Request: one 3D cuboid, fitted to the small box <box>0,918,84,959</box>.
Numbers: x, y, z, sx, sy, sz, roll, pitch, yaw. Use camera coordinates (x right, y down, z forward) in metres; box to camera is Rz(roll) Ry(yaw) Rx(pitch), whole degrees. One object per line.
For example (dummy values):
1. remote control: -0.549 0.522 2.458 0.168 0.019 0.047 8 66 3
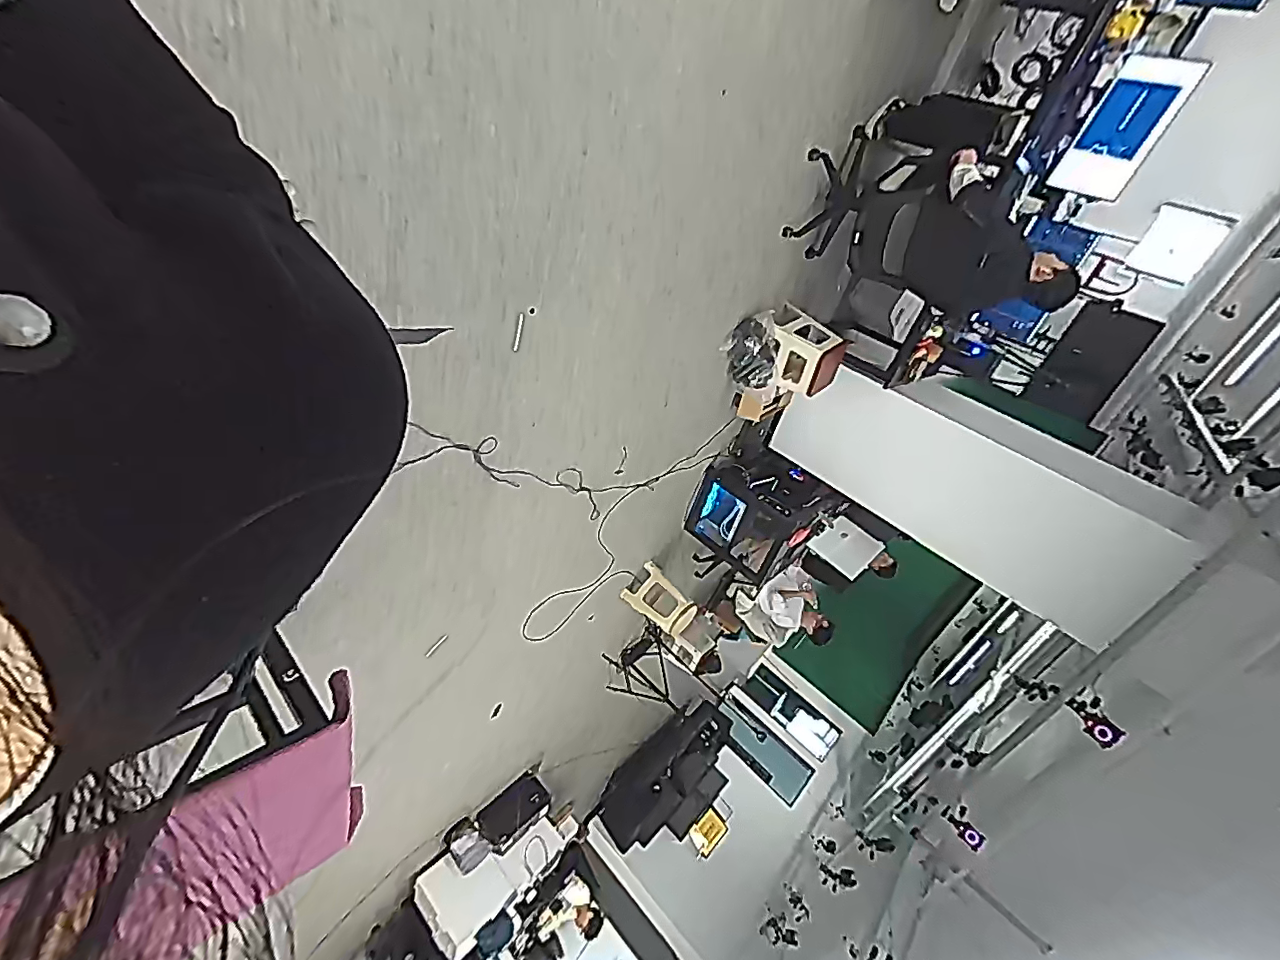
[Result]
1. small box: -1.035 0.889 0.896 0.168 0.176 0.179 -19 138 -50
